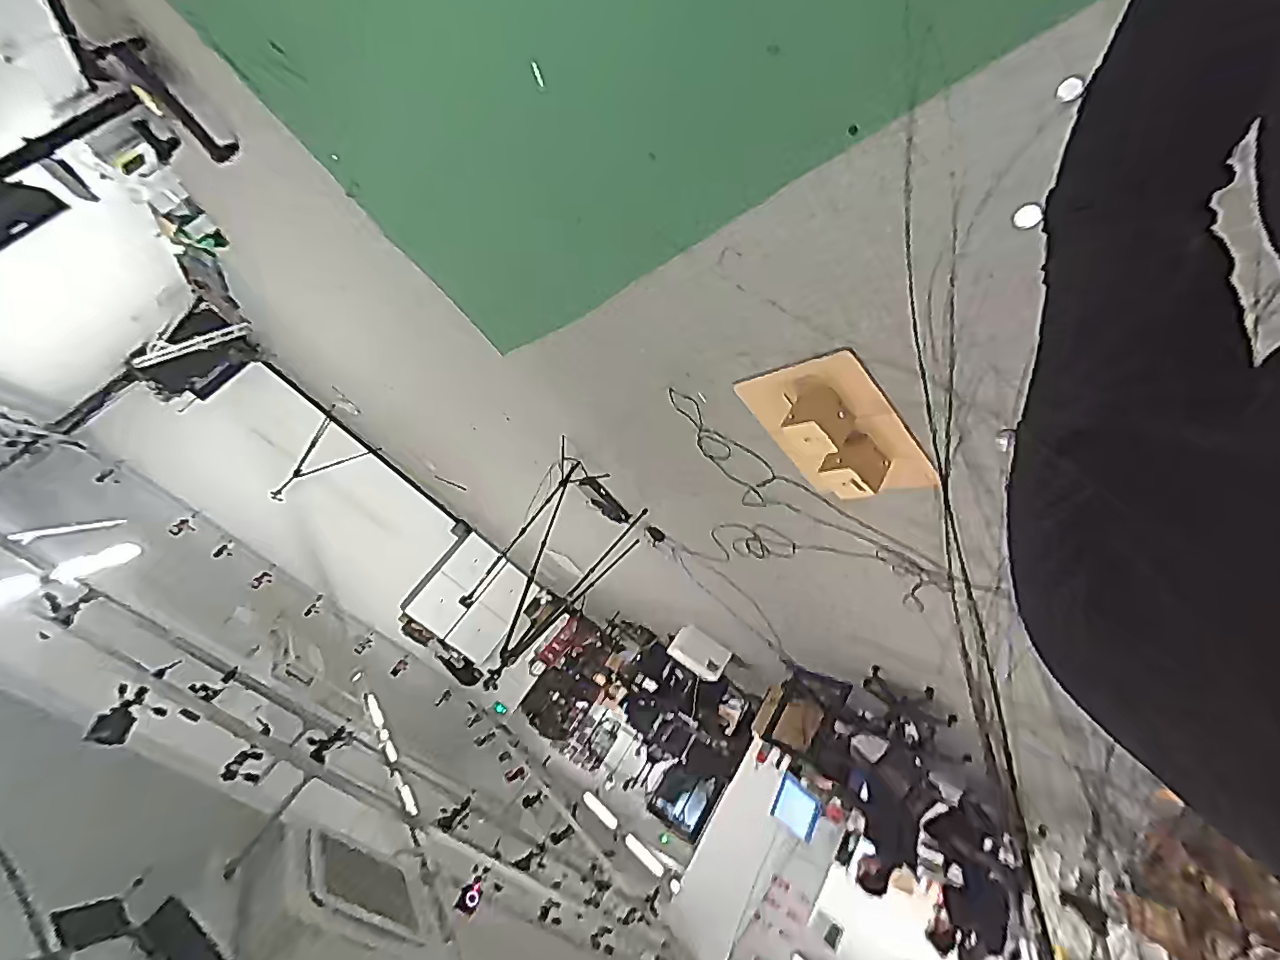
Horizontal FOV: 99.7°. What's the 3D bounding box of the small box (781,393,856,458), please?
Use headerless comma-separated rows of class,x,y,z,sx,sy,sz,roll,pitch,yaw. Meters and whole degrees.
small box,0.680,-0.205,2.051,0.168,0.176,0.179,44,156,-21

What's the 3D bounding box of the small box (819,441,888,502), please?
small box,0.849,-0.035,2.128,0.168,0.176,0.179,43,157,-16
